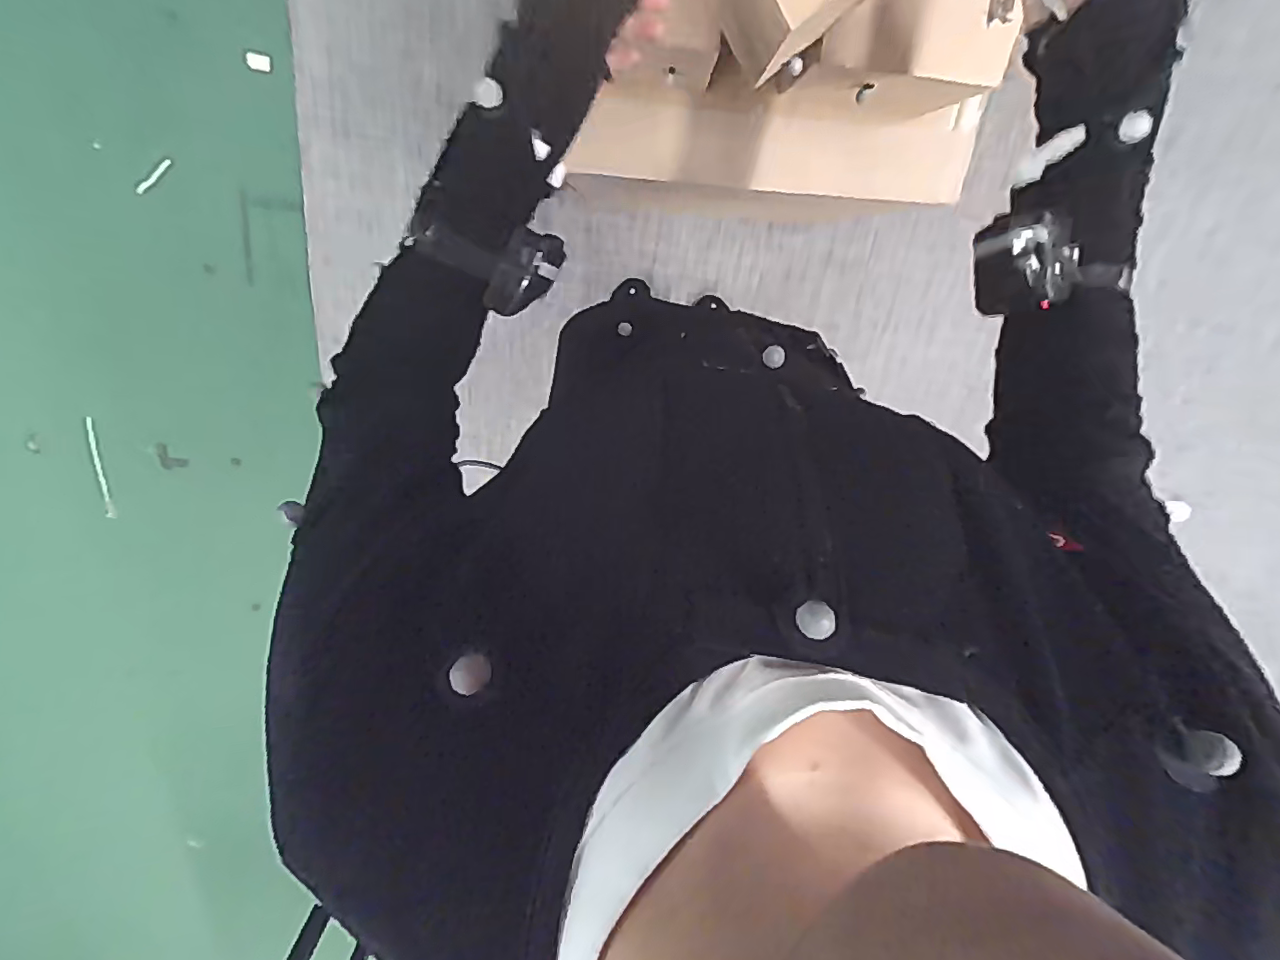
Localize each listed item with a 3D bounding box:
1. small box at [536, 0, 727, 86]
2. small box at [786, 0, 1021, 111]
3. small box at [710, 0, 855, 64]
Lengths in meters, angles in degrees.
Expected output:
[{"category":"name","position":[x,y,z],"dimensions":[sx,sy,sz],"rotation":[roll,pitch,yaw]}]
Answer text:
[{"category":"small box","position":[-0.001,-0.512,0.536],"dimensions":[0.179,0.176,0.168],"rotation":[4,114,0]},{"category":"small box","position":[0.259,-0.488,0.542],"dimensions":[0.179,0.176,0.168],"rotation":[7,116,-1]},{"category":"small box","position":[0.122,-0.443,0.385],"dimensions":[0.168,0.176,0.179],"rotation":[-32,109,15]}]
